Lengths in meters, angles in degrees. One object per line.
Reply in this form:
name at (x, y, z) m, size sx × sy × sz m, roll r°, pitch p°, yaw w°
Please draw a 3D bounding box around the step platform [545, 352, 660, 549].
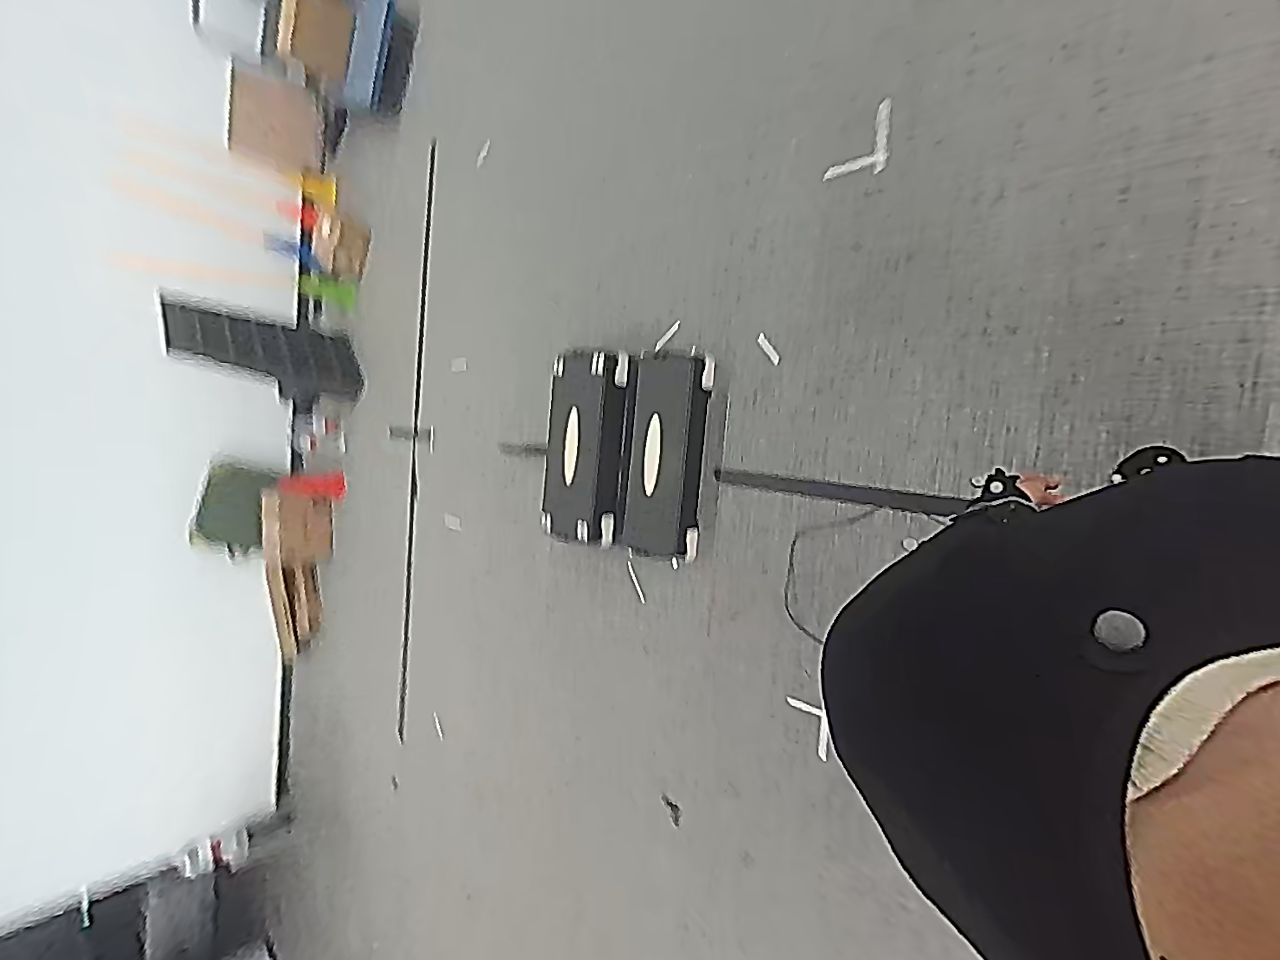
step platform at (-0.141, -0.105, 1.926) m, size 0.286 × 0.204 × 0.684 m, roll 15°, pitch 97°, yaw 42°
